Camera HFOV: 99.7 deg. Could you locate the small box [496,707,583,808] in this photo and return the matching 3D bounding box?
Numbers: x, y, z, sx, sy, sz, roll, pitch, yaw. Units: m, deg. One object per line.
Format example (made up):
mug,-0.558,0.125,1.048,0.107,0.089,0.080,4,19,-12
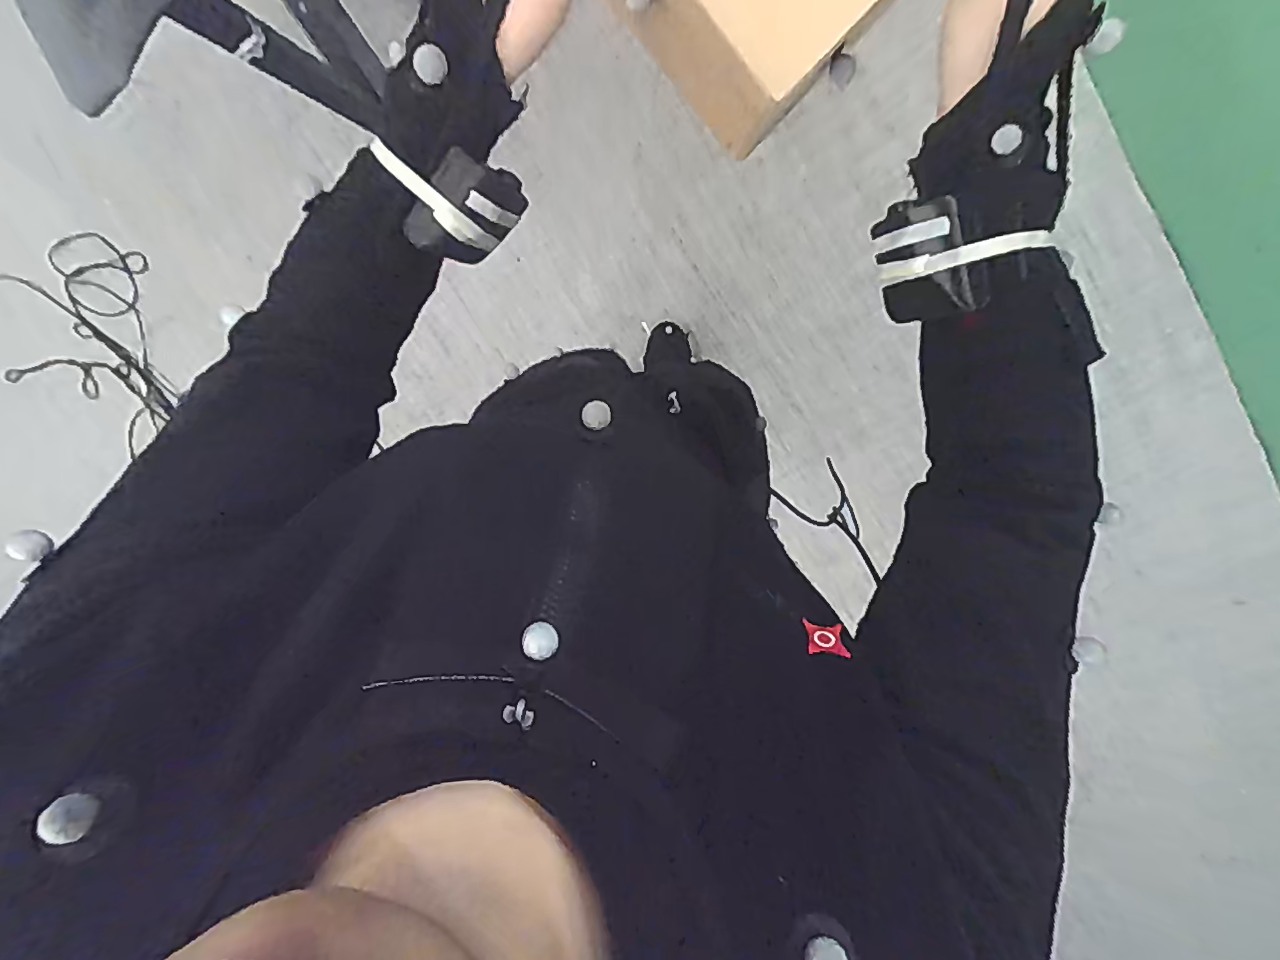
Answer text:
small box,-0.282,0.801,1.576,0.179,0.176,0.168,-29,101,13
